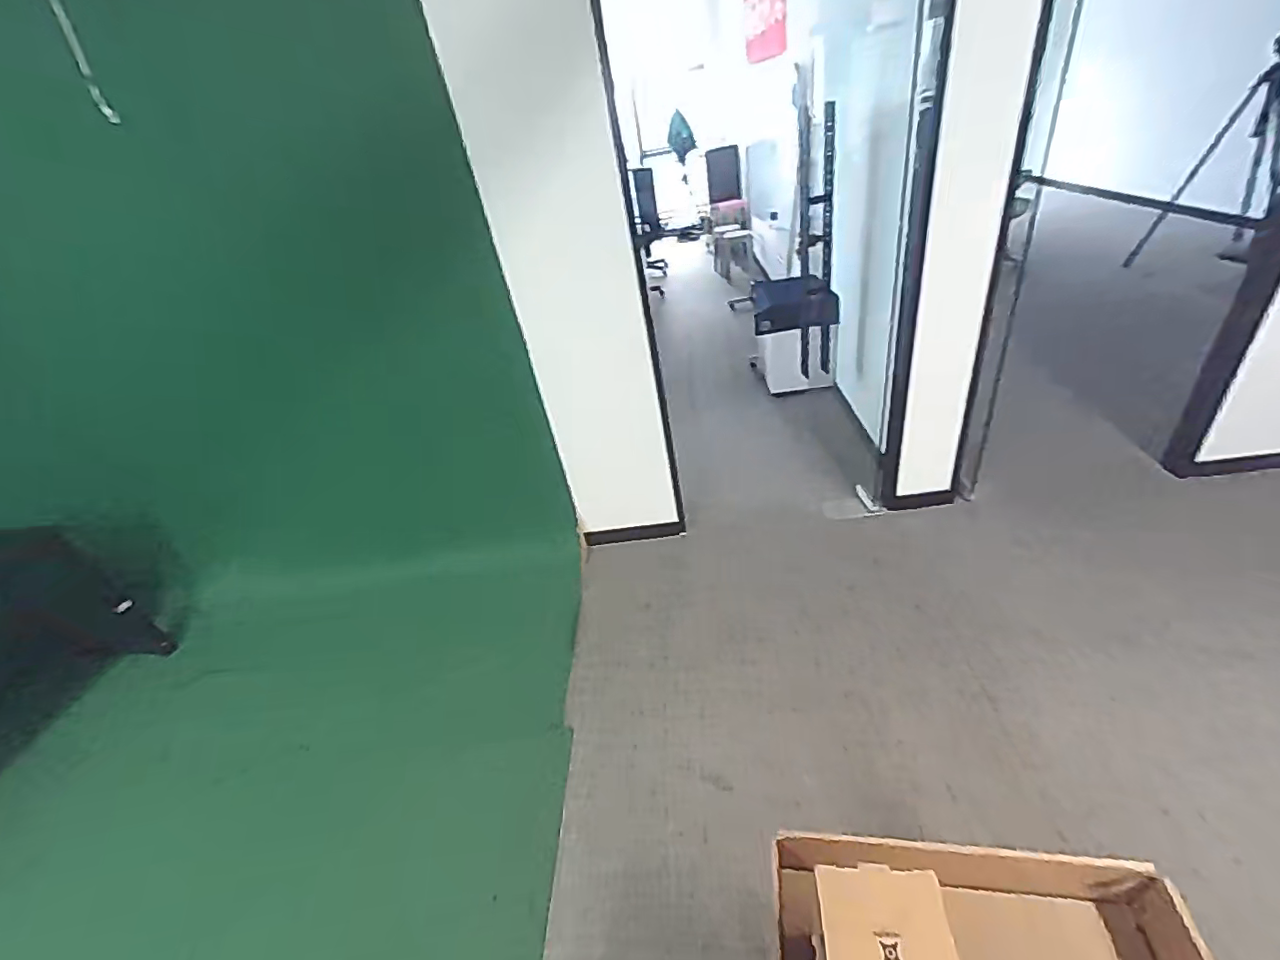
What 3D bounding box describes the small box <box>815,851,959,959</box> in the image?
[{"bbox_3d":[0.341,0.660,0.762,0.168,0.176,0.179,-6,36,13],"label":"small box"}]
